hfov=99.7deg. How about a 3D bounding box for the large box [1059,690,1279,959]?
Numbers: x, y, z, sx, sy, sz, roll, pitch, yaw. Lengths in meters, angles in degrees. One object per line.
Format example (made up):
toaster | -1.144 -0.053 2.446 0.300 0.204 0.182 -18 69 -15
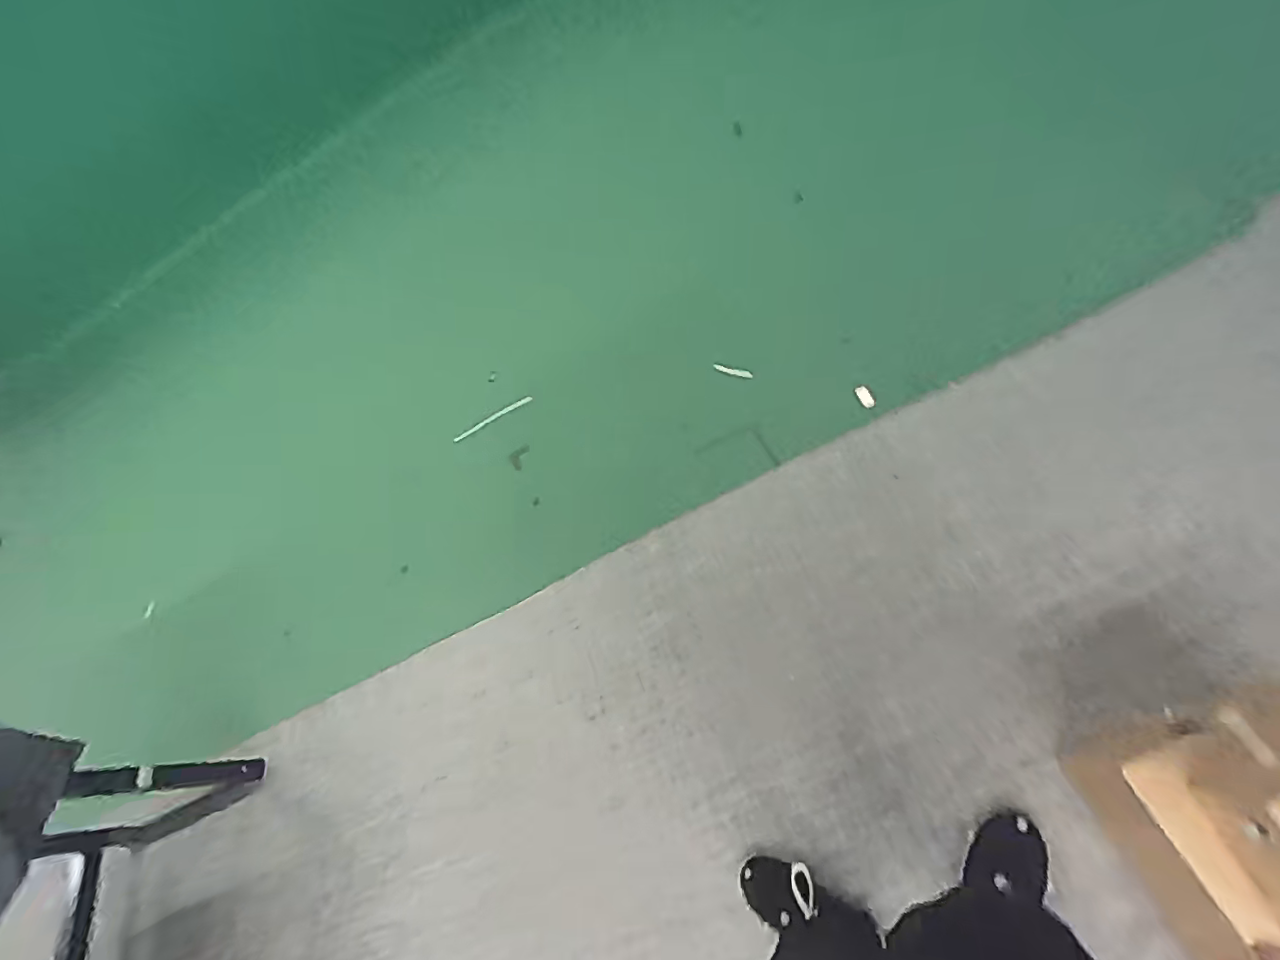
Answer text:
large box | 0.907 0.545 0.741 0.320 0.320 0.408 -29 60 9
